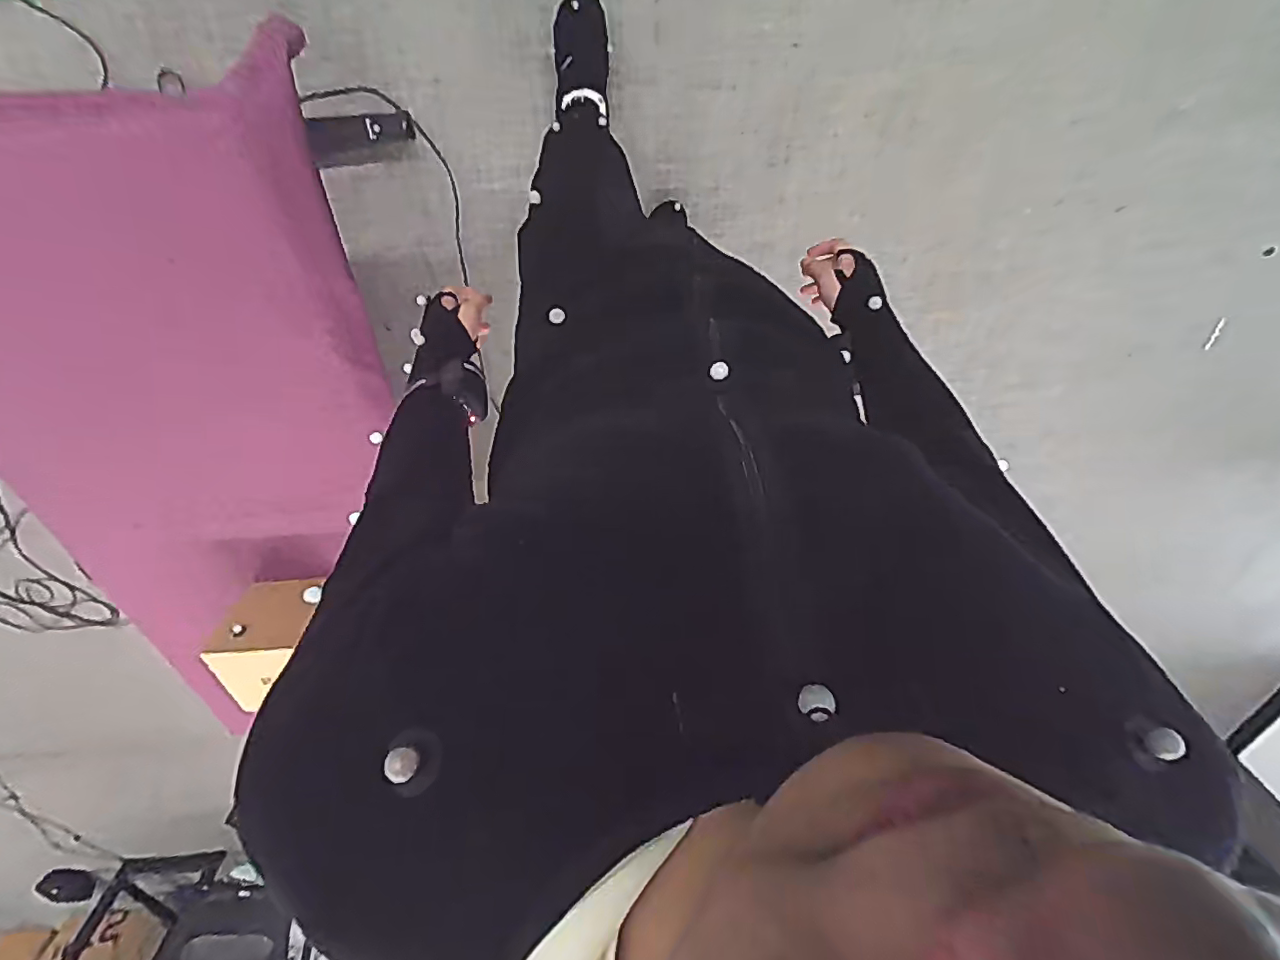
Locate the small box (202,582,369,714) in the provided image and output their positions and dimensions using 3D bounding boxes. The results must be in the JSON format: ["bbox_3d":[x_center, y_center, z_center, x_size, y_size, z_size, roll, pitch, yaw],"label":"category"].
[{"bbox_3d":[-0.639,0.307,1.002,0.179,0.176,0.168,-4,124,-1],"label":"small box"}]
